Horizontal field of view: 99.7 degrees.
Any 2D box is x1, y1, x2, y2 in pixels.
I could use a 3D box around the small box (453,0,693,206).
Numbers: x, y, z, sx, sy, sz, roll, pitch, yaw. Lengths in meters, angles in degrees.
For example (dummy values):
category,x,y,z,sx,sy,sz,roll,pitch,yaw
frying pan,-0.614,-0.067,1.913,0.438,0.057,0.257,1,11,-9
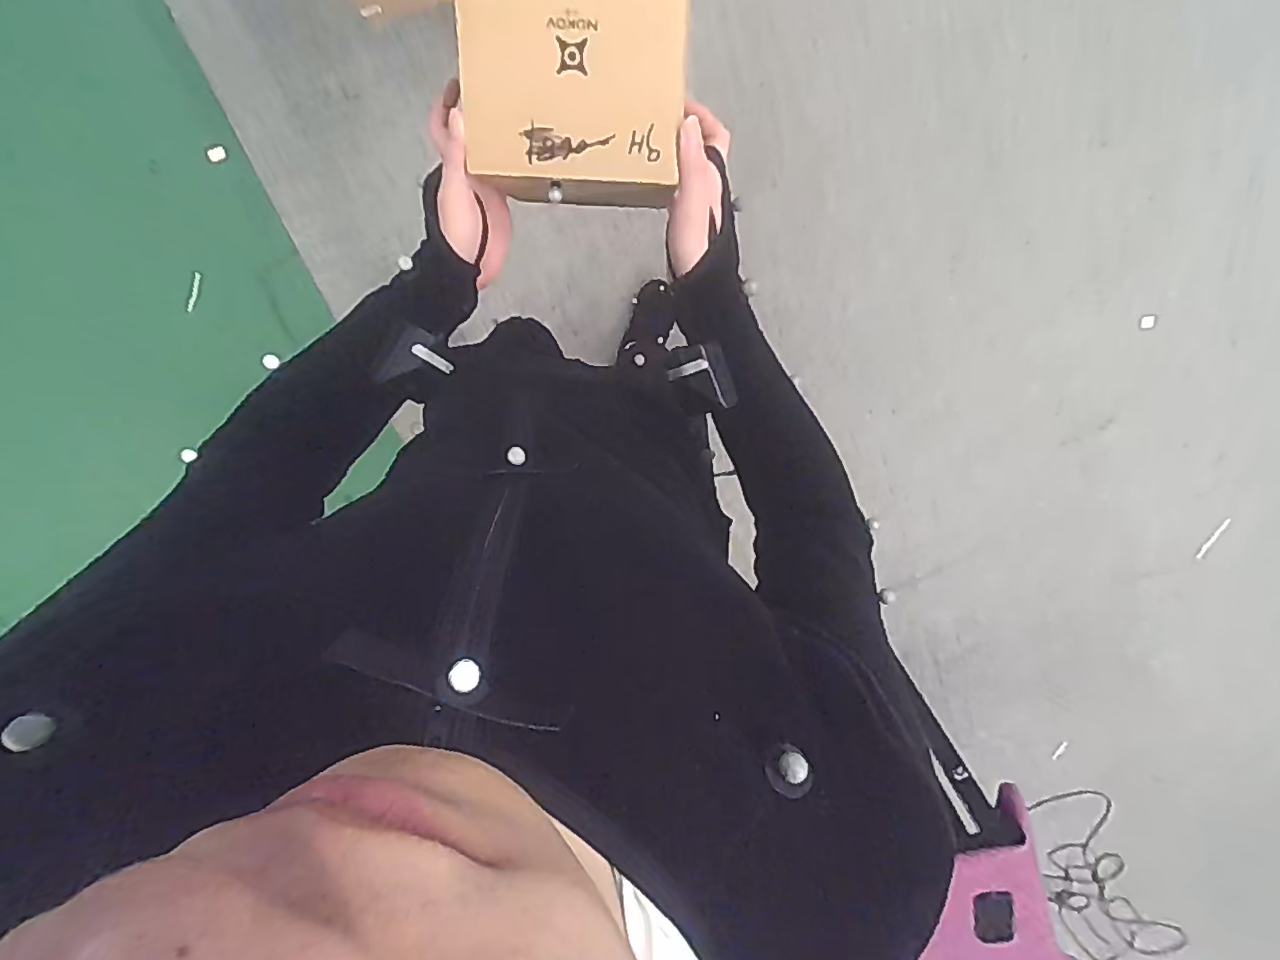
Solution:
category,x,y,z,sx,sy,sz,roll,pitch,yaw
small box,-0.048,-0.341,0.450,0.168,0.176,0.179,2,110,-1
